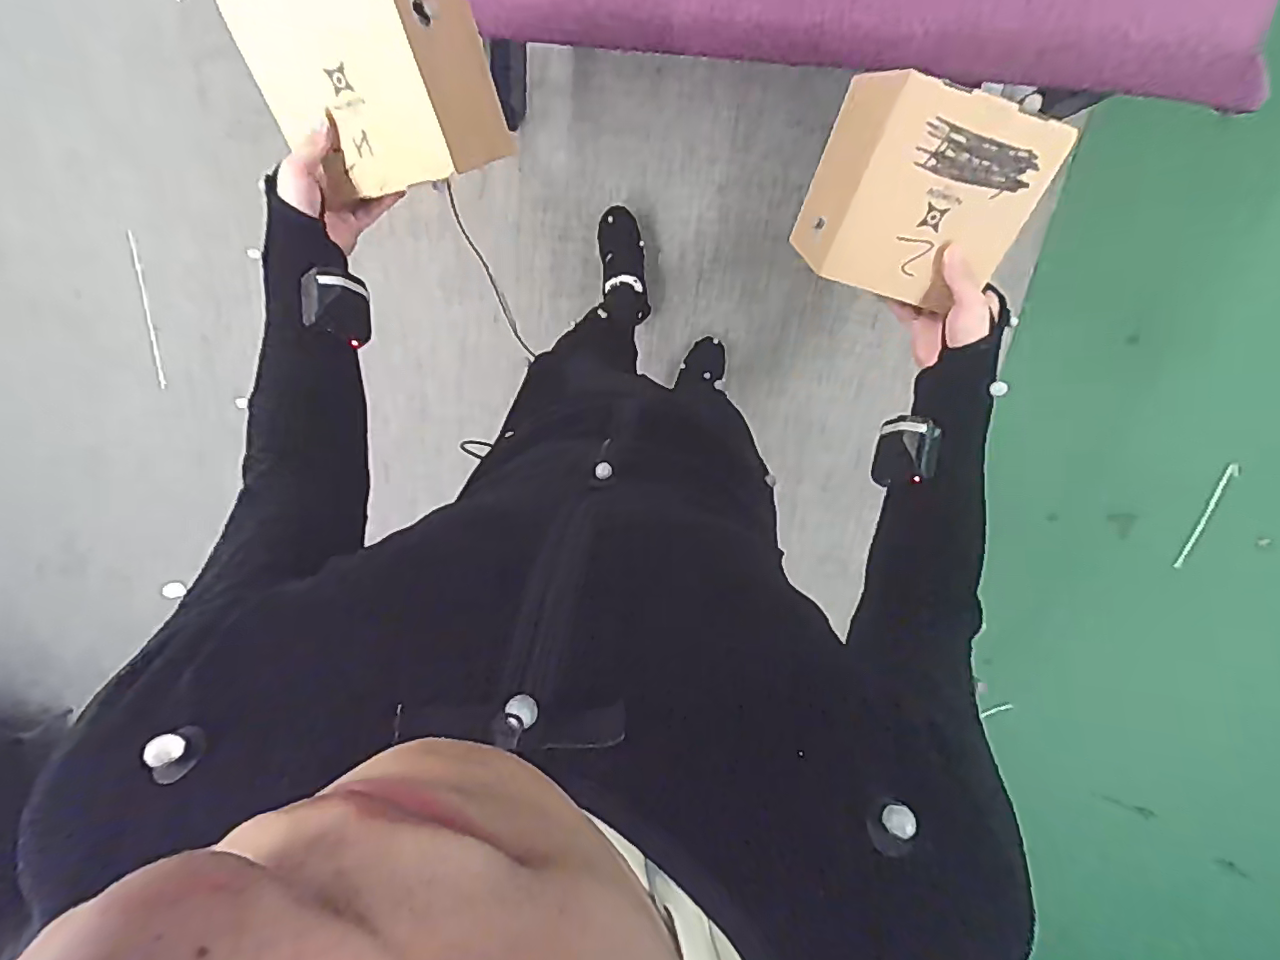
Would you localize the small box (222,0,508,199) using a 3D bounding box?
[{"bbox_3d":[-0.263,-0.415,0.564,0.168,0.176,0.179,-4,126,15],"label":"small box"}]

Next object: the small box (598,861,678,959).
[{"bbox_3d":[0.000,1.192,1.467,0.168,0.176,0.179,17,111,3],"label":"small box"}]

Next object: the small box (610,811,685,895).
[{"bbox_3d":[0.028,1.136,1.618,0.179,0.176,0.168,19,111,2],"label":"small box"}]
